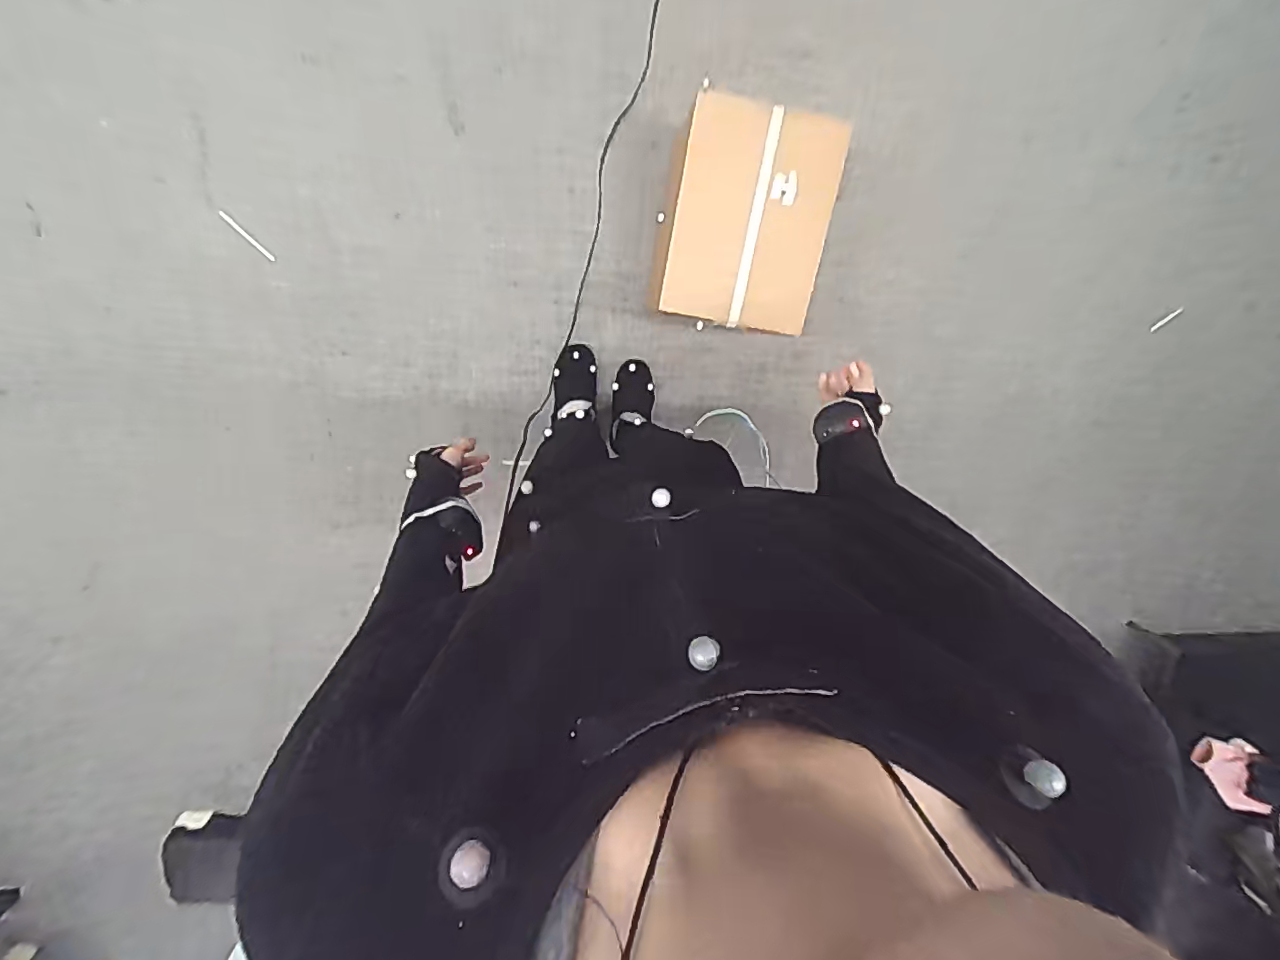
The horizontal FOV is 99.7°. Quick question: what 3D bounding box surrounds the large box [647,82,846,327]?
[{"bbox_3d":[0.206,-0.572,1.217,0.320,0.320,0.408,9,105,-8],"label":"large box"}]
